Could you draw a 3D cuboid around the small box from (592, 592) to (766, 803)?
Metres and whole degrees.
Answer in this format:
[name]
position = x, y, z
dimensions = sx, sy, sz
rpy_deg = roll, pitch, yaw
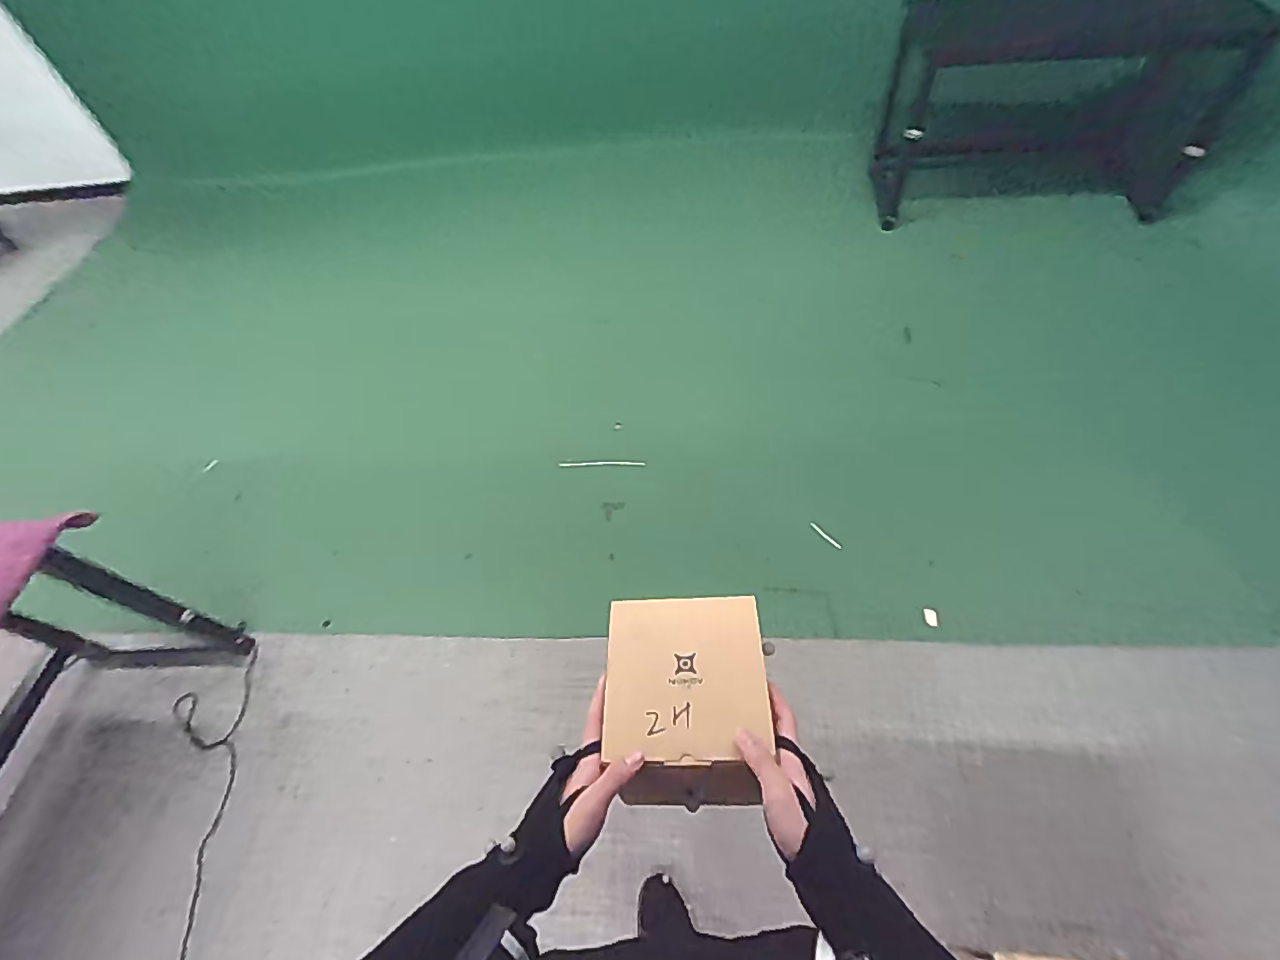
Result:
[small box]
position = 0.047, 0.248, 0.616
dimensions = 0.168, 0.176, 0.179
rpy_deg = -5, 47, 6
